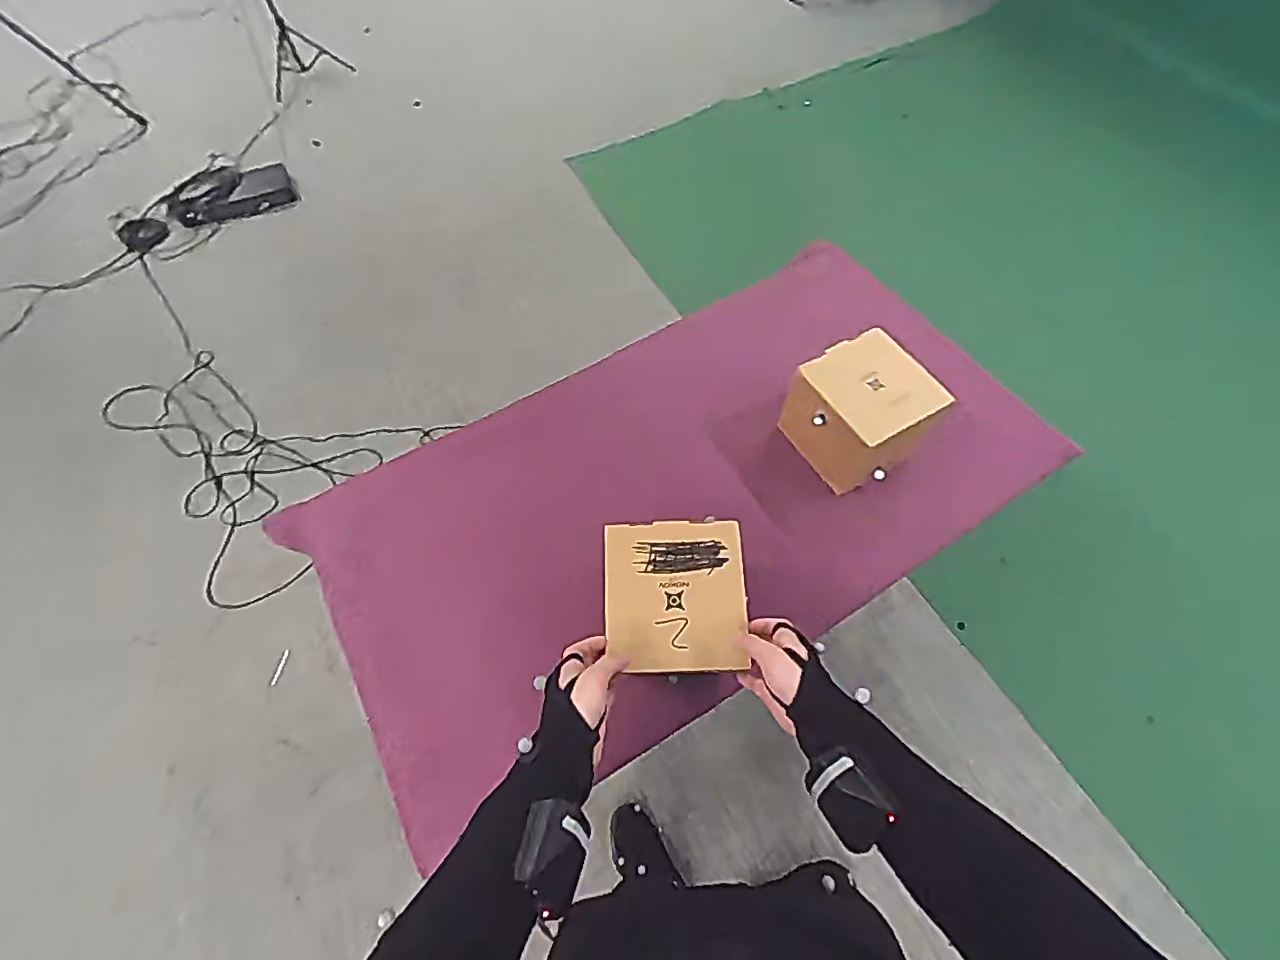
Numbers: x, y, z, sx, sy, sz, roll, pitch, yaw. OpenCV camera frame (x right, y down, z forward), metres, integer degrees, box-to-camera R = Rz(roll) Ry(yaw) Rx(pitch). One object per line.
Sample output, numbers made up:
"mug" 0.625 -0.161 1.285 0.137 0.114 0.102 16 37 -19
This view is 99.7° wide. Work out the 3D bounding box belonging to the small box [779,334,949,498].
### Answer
"small box" 0.354 -0.101 0.897 0.168 0.176 0.179 -27 64 -11
